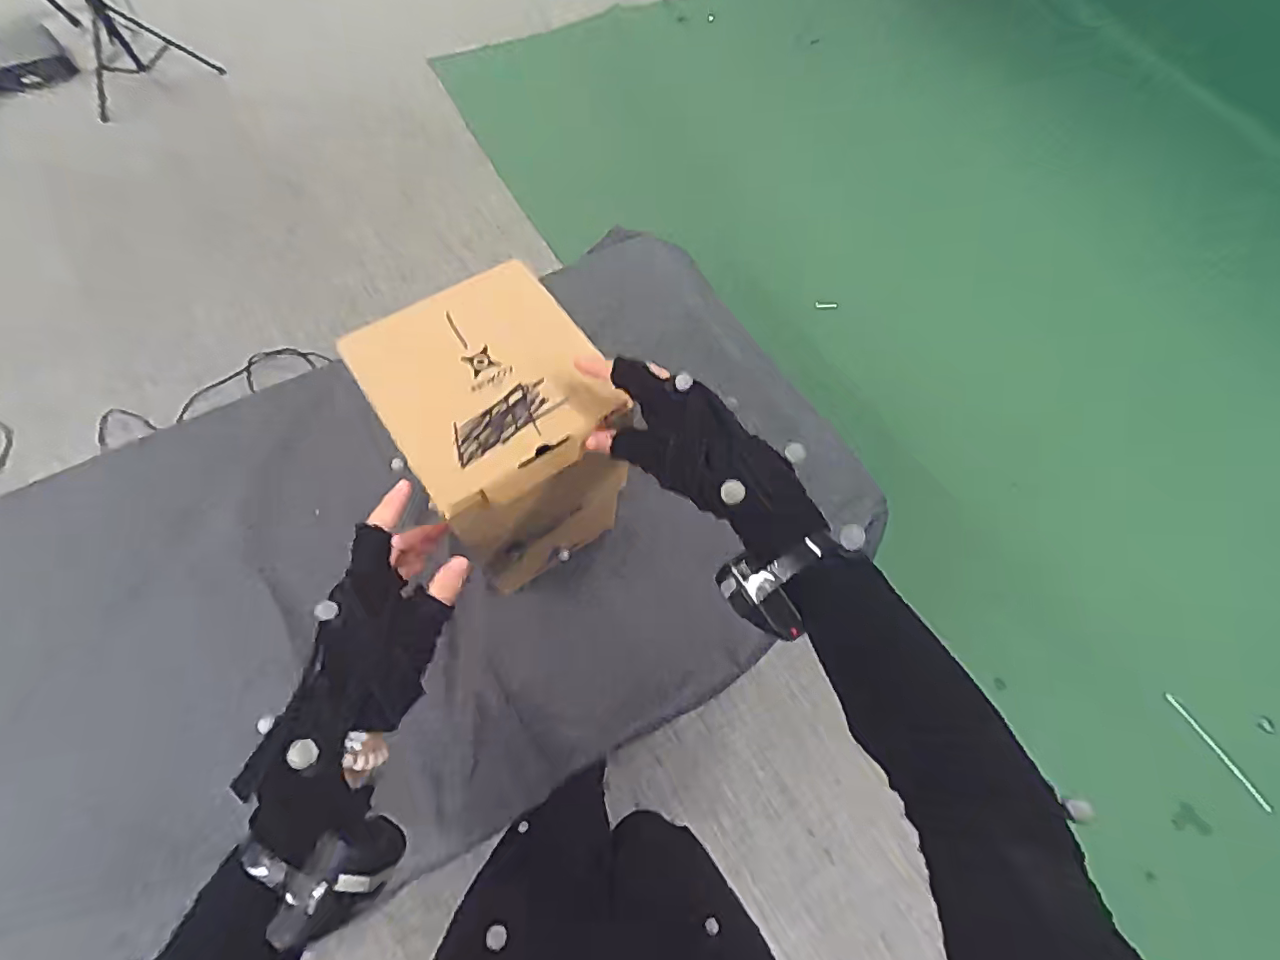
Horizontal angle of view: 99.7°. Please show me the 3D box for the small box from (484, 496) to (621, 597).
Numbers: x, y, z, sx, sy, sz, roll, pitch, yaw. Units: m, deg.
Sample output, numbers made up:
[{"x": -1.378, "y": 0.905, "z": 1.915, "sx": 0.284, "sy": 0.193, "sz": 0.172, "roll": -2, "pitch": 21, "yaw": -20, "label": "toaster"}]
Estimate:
[{"x": -0.140, "y": 0.015, "z": 0.651, "sx": 0.168, "sy": 0.176, "sz": 0.179, "roll": -32, "pitch": 72, "yaw": -16, "label": "small box"}]

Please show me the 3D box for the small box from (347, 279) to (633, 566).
[{"x": -0.122, "y": -0.038, "z": 0.497, "sx": 0.168, "sy": 0.176, "sz": 0.179, "roll": -32, "pitch": 71, "yaw": -17, "label": "small box"}]
